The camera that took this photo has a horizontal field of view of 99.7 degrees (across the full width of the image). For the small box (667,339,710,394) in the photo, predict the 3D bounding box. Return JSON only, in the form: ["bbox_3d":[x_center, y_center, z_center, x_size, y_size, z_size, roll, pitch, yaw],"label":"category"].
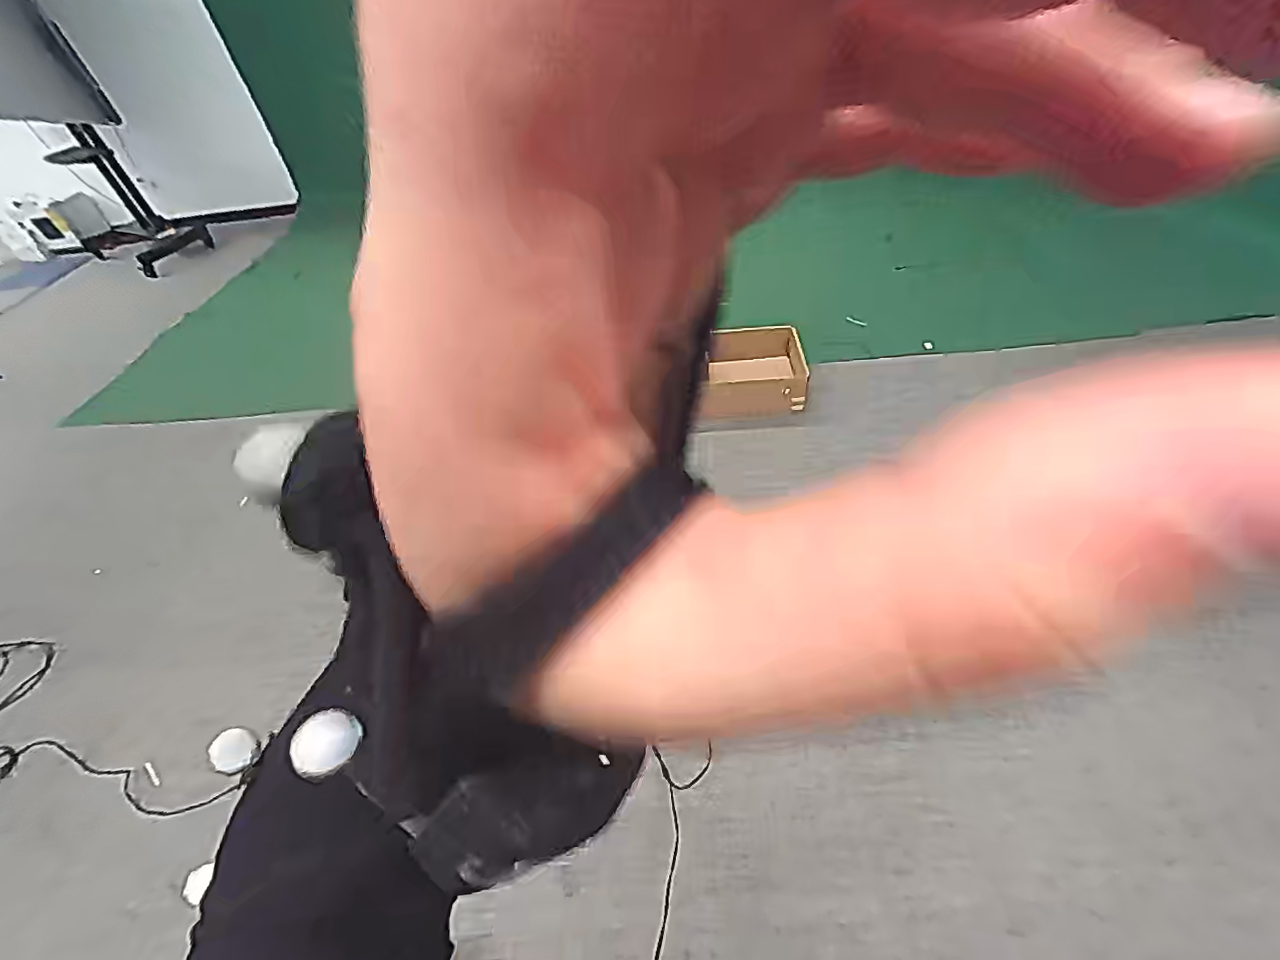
[{"bbox_3d":[0.211,-0.496,2.364,0.179,0.176,0.168,-4,47,5],"label":"small box"}]
